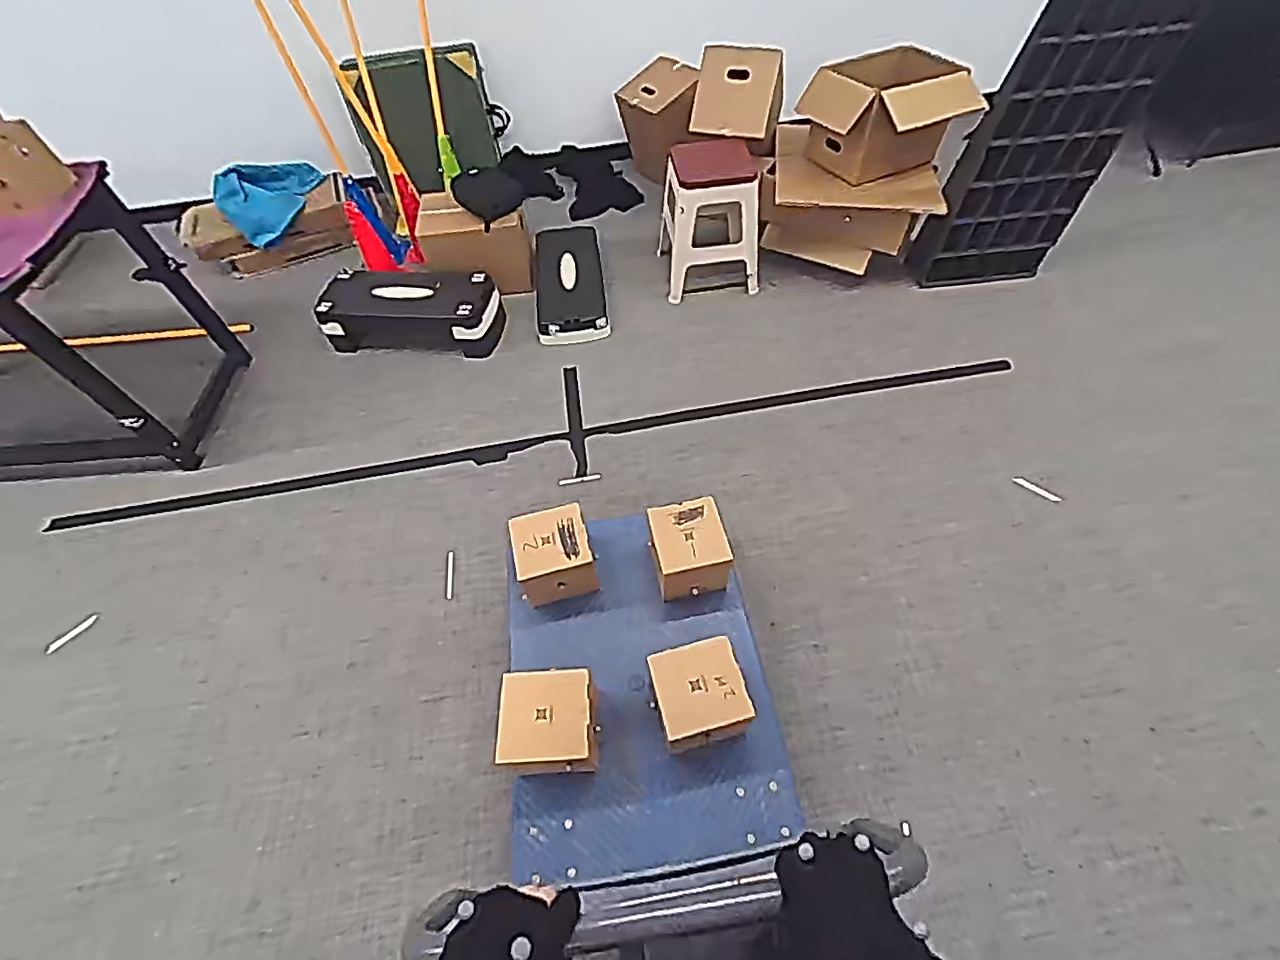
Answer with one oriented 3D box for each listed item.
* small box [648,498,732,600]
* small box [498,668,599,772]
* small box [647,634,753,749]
[{"bbox_3d":[0.116,0.171,1.327,0.168,0.176,0.179,-12,57,-5],"label":"small box"},{"bbox_3d":[-0.180,0.501,1.120,0.179,0.176,0.168,-3,55,-1],"label":"small box"},{"bbox_3d":[0.122,0.450,1.137,0.179,0.176,0.168,-14,56,-6],"label":"small box"}]
